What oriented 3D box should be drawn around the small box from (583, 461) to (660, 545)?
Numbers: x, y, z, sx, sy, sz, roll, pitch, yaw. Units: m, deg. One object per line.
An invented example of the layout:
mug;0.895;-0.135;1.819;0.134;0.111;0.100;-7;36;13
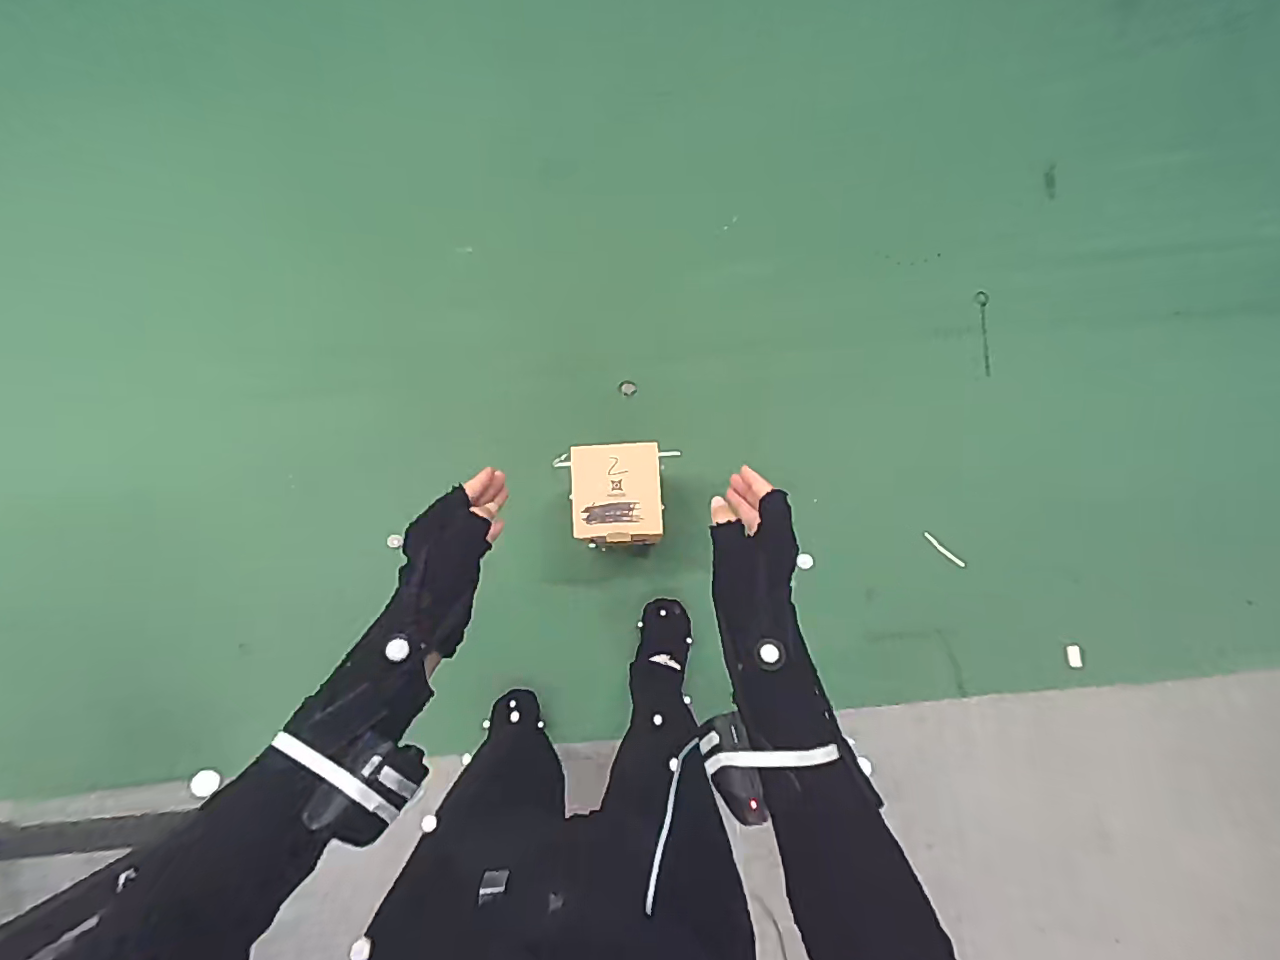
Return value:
small box;-0.039;0.059;1.244;0.168;0.176;0.179;-3;81;0
